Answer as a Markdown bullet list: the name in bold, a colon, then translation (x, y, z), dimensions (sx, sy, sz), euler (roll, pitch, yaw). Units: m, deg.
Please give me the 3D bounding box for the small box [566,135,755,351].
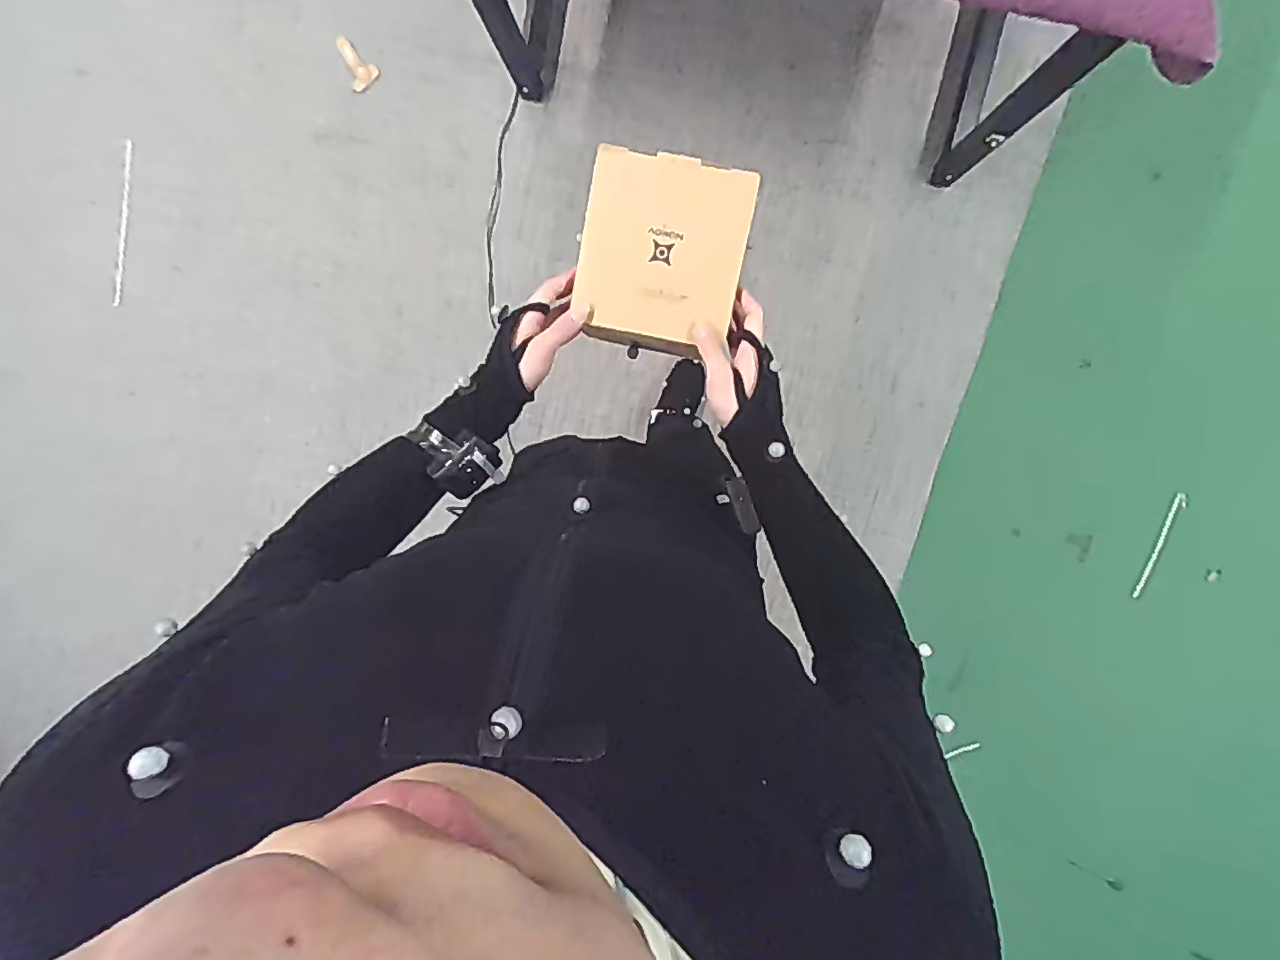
- **small box**: translation (0.022, -0.254, 0.623), dimensions (0.168, 0.176, 0.179), euler (11, 101, 2)
